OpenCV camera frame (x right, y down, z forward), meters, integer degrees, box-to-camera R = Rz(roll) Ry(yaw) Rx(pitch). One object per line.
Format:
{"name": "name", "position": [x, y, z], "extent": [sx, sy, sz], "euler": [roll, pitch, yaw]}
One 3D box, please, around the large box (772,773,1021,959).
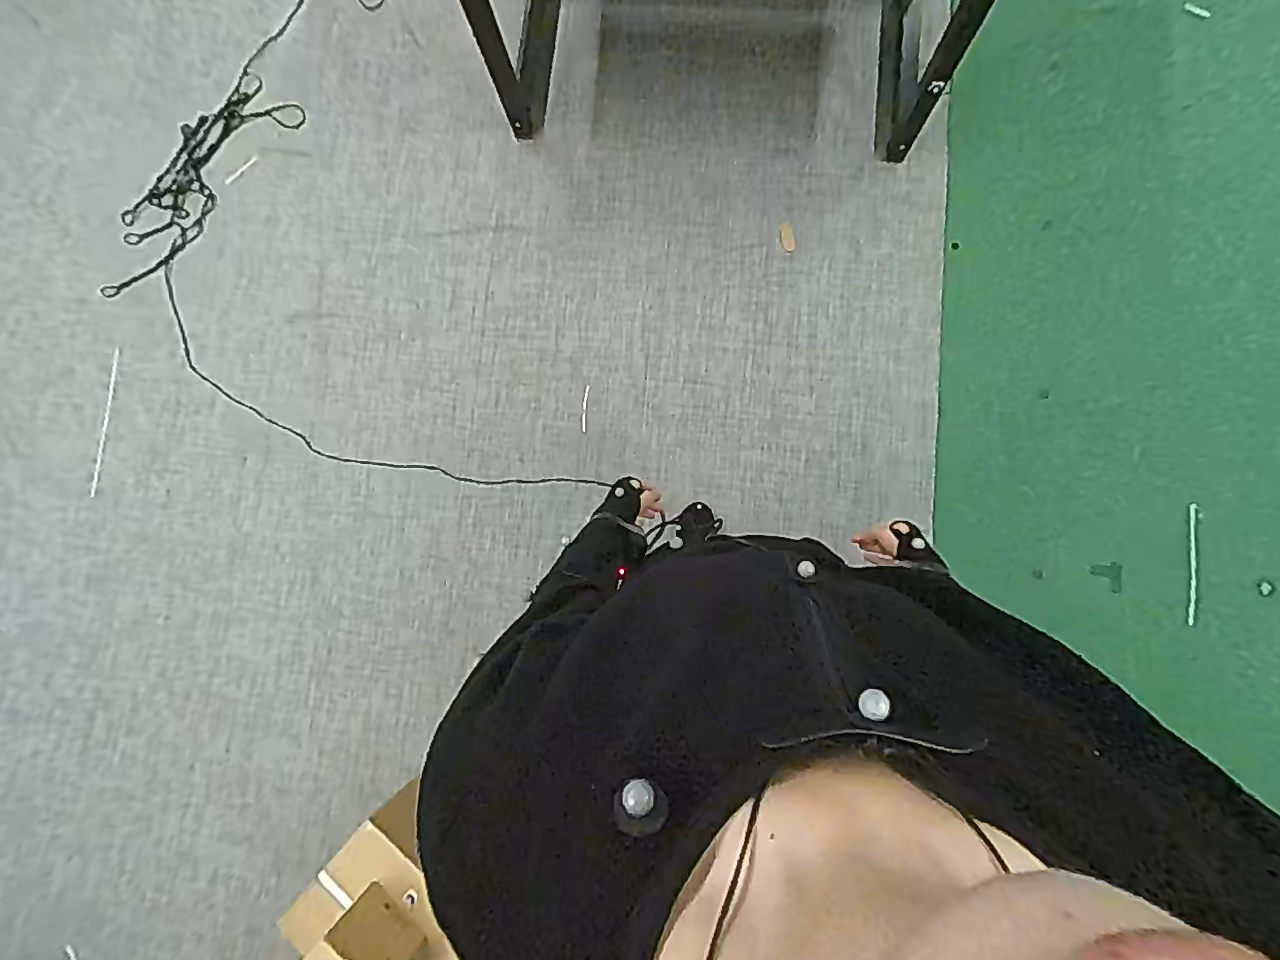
{"name": "large box", "position": [0.552, 0.913, 1.235], "extent": [0.408, 0.320, 0.320], "euler": [-9, 83, 2]}
